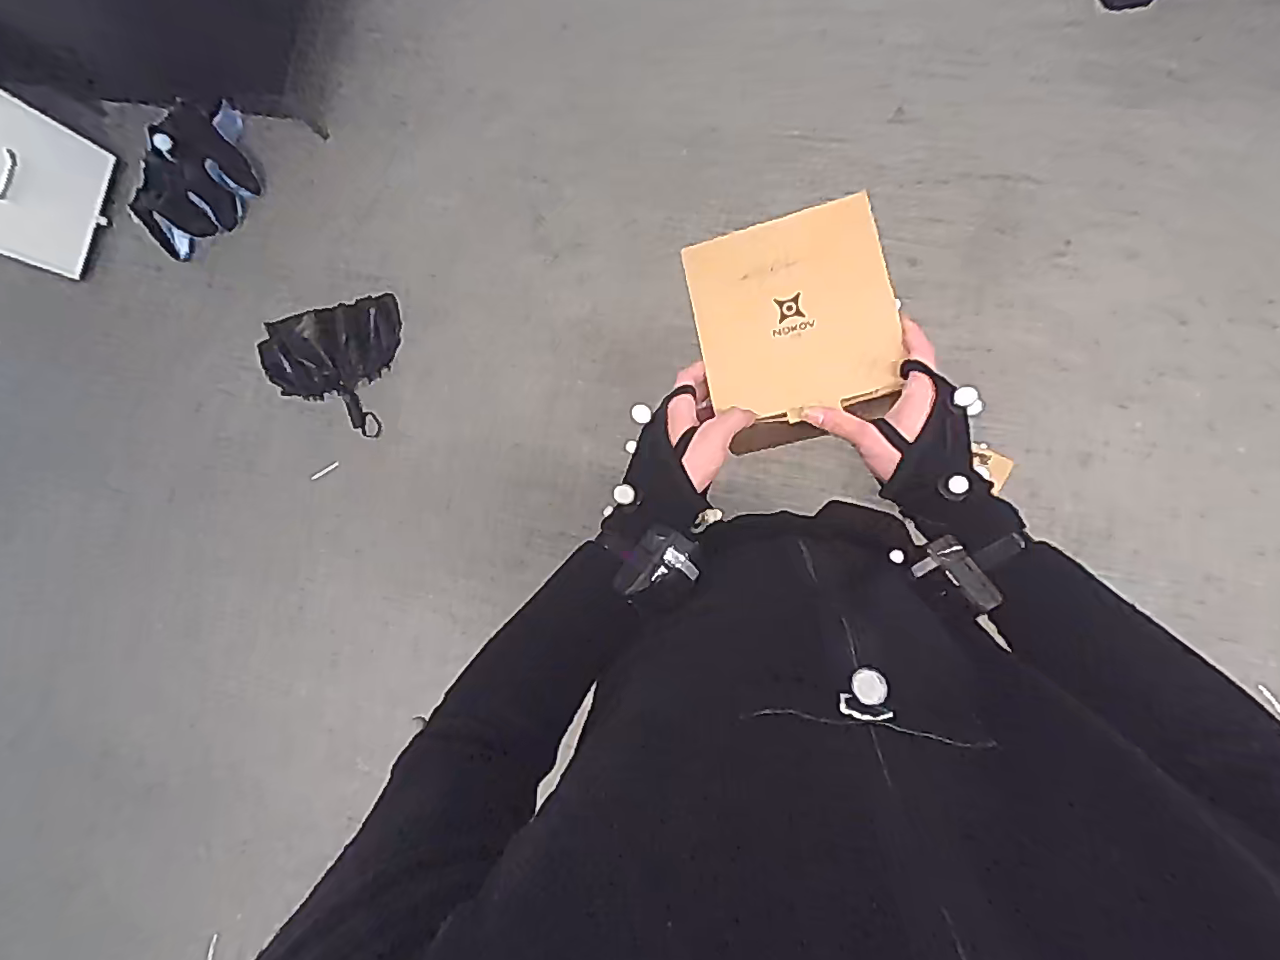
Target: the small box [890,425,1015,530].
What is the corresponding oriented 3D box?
[{"bbox_3d":[0.691,-0.003,1.224,0.168,0.176,0.179,28,93,10],"label":"small box"}]
